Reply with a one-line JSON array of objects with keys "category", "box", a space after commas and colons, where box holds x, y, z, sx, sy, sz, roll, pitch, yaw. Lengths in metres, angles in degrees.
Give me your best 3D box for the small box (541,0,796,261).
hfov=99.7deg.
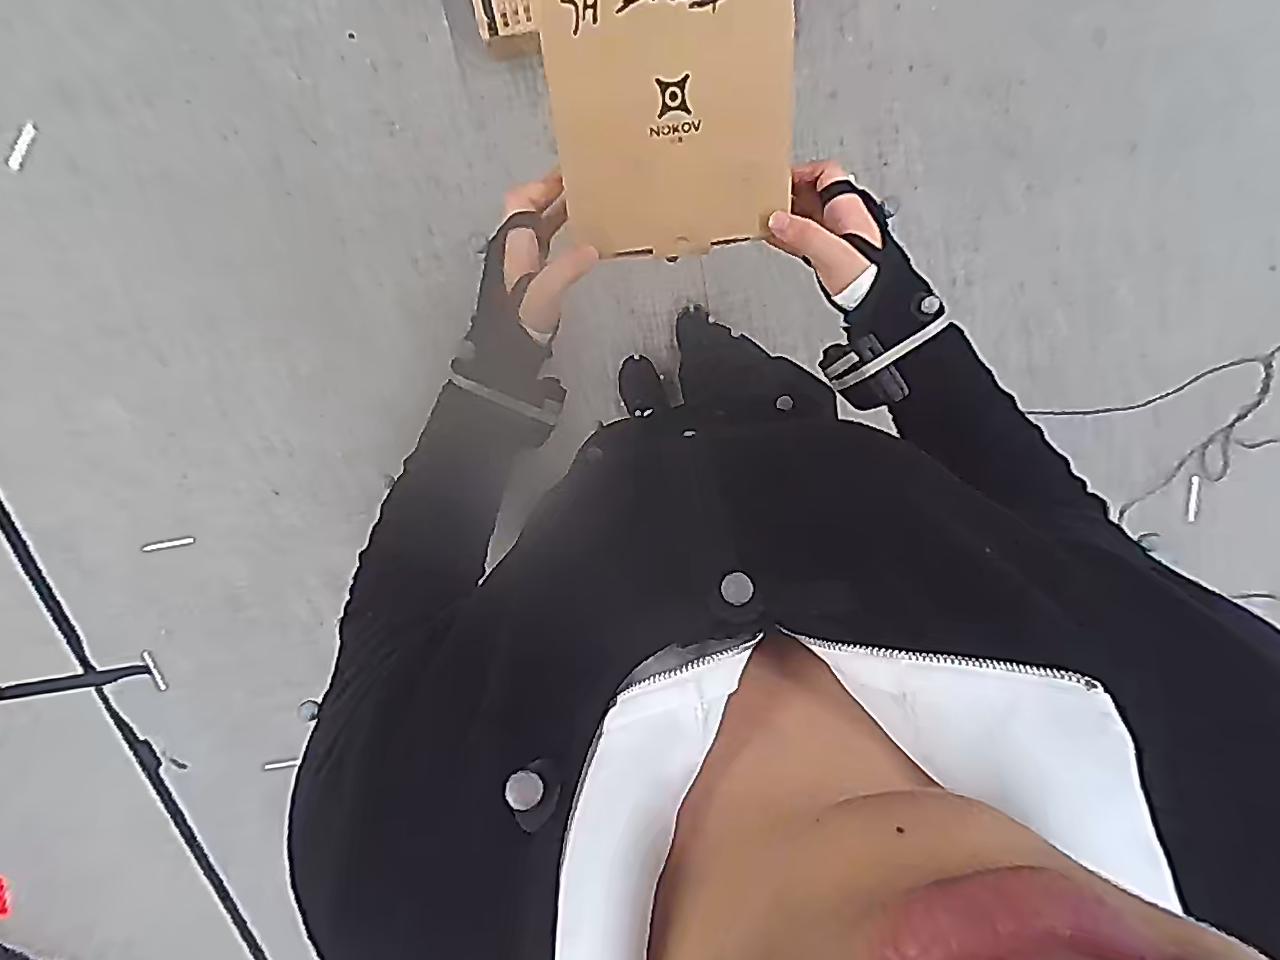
[{"category": "small box", "box": [0.021, -0.290, 0.446, 0.168, 0.176, 0.179, -6, 118, 0]}]
